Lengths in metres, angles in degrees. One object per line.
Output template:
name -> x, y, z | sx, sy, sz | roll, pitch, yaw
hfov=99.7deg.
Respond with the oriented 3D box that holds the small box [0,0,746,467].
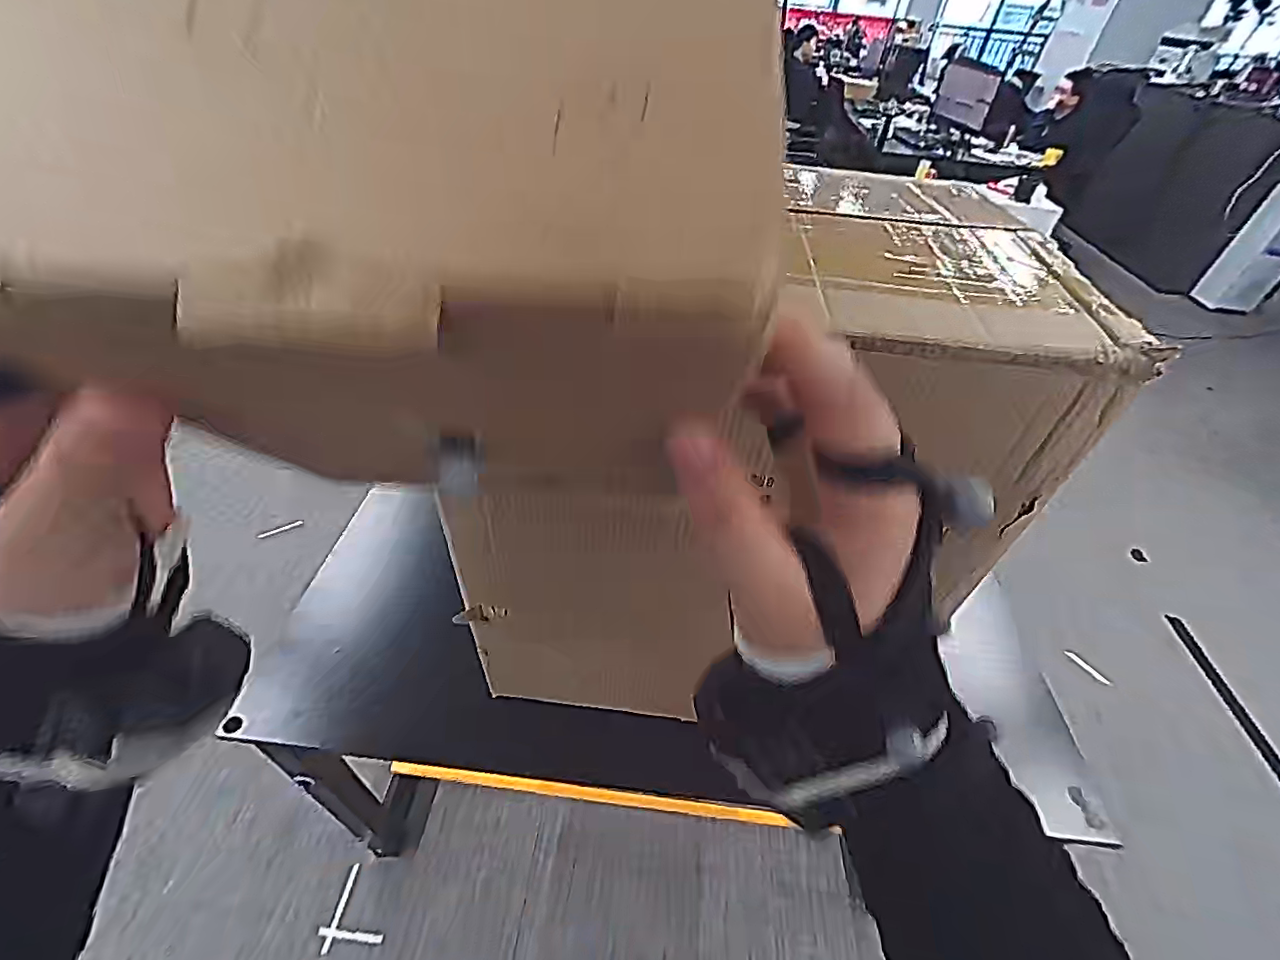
small box -> -0.060, -0.106, 0.191 | 0.168, 0.176, 0.179 | 2, 77, -1
